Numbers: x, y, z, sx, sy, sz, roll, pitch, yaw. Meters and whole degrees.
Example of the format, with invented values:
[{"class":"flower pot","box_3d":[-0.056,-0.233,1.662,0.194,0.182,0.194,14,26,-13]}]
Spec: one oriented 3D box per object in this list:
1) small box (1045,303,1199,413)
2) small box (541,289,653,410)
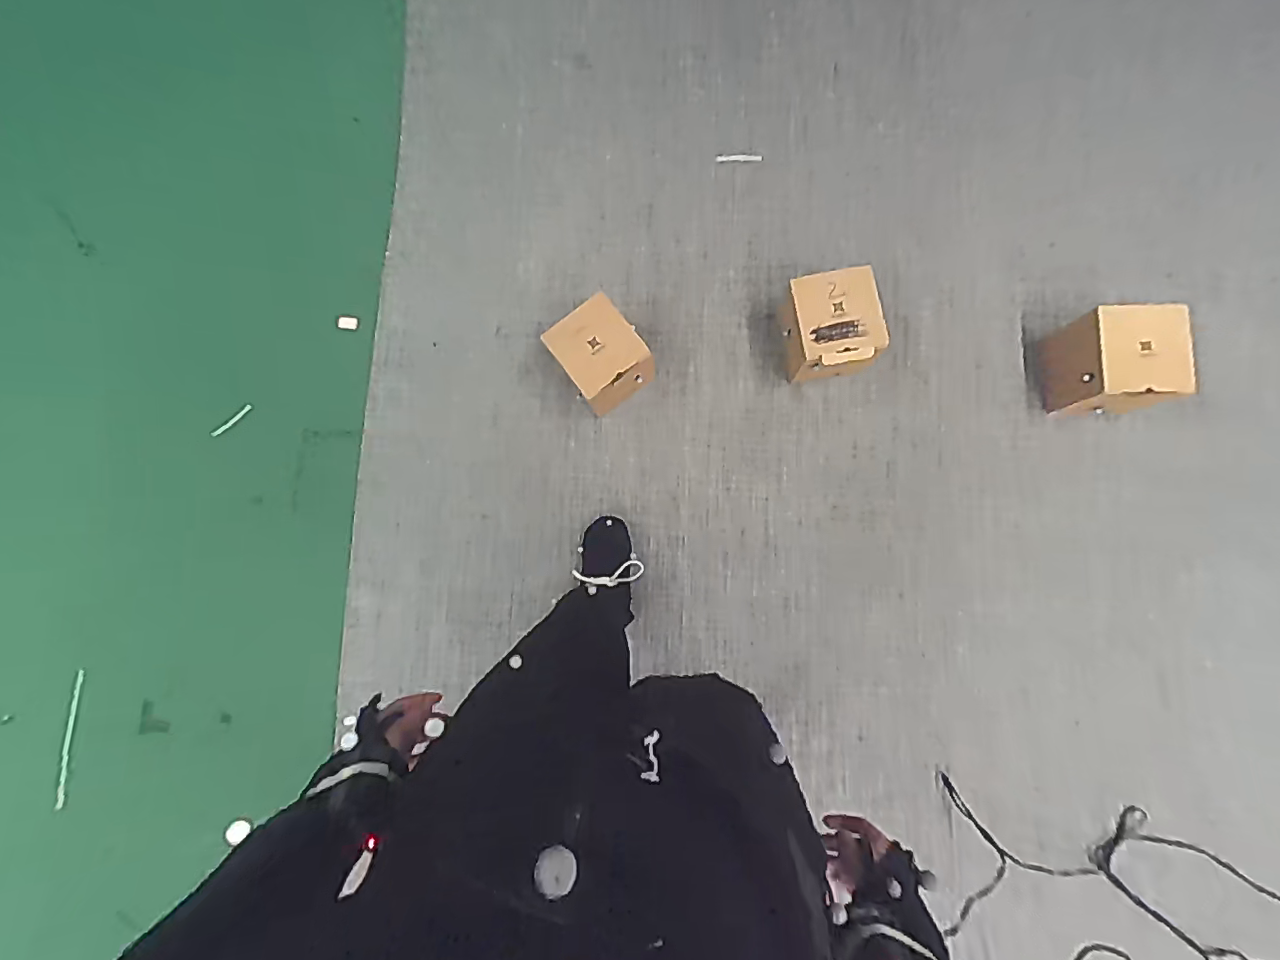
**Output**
[{"class":"small box","box_3d":[0.965,-0.242,1.100,0.168,0.176,0.179,0,84,4]},{"class":"small box","box_3d":[-0.085,-0.272,1.184,0.168,0.176,0.179,-37,81,-2]}]
